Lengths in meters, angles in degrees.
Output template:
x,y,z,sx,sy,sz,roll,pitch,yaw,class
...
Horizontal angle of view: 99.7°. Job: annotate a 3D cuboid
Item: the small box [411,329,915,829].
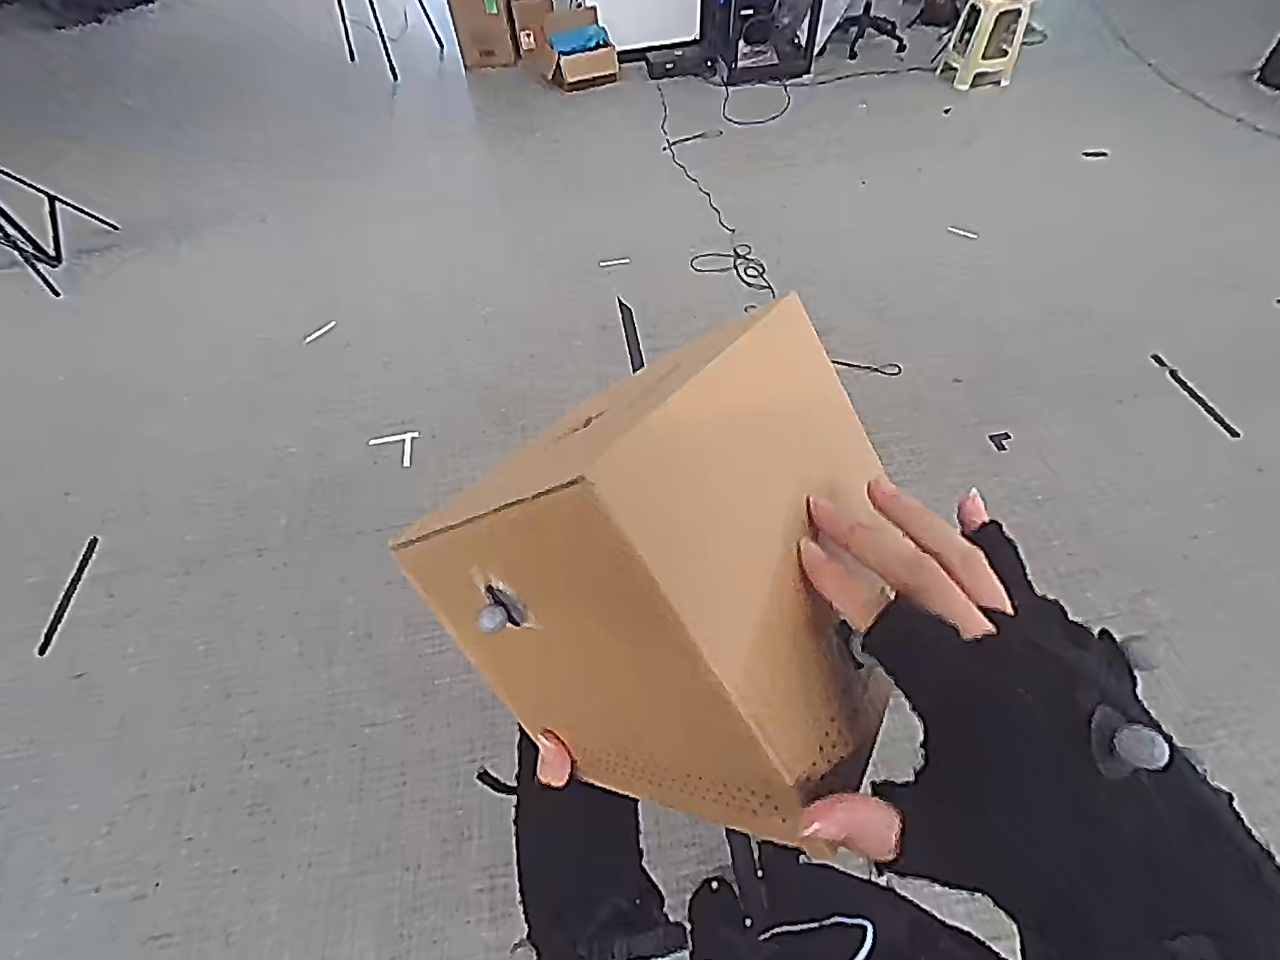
x,y,z,sx,sy,sz,roll,pitch,yaw,class
0.017,0.051,0.300,0.179,0.176,0.168,-18,20,46,small box
